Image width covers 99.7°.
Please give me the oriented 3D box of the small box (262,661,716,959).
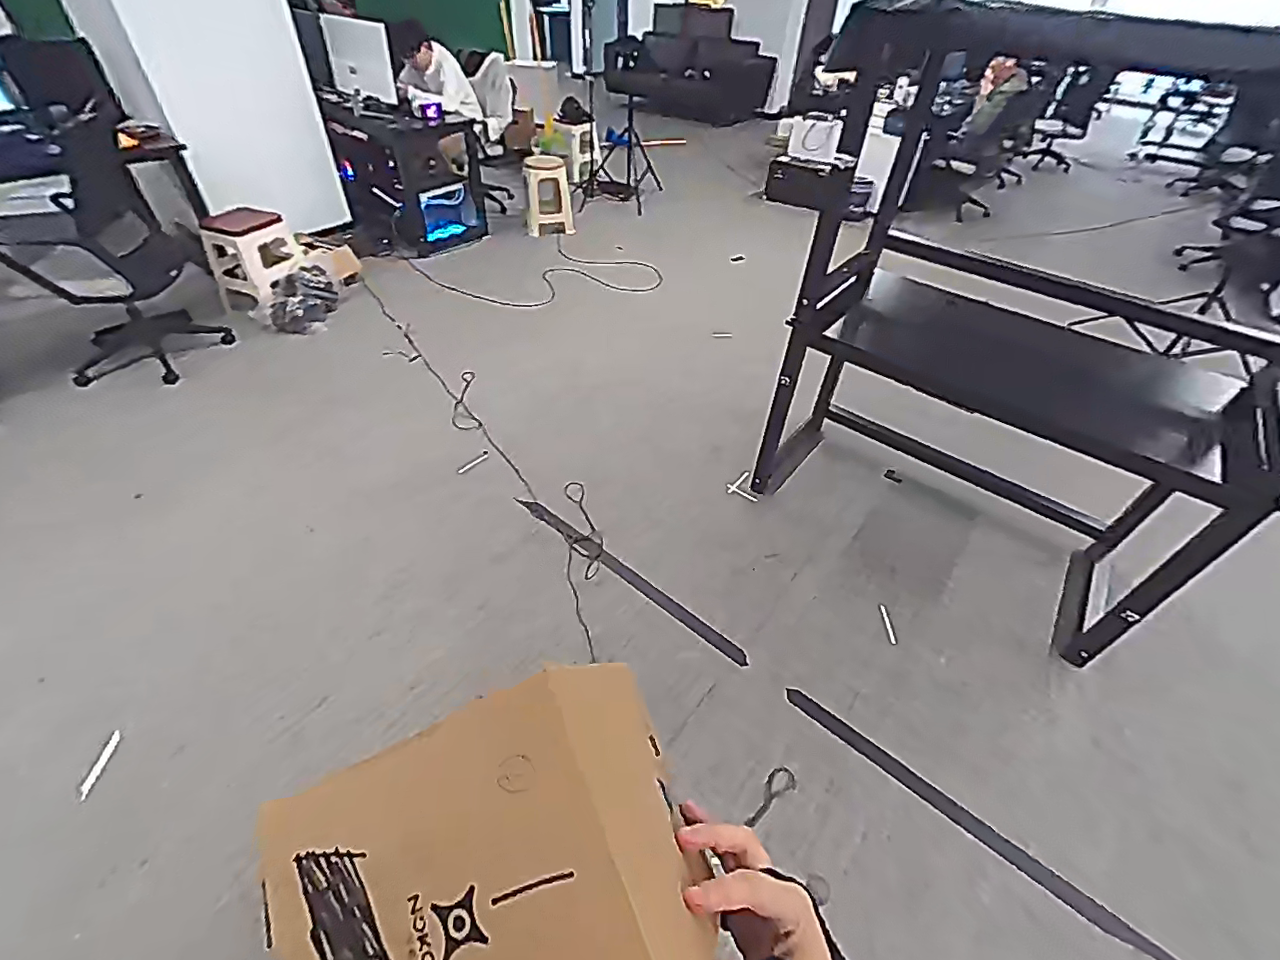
[{"bbox_3d":[-0.069,0.220,0.318,0.179,0.176,0.168,-26,69,3],"label":"small box"}]
